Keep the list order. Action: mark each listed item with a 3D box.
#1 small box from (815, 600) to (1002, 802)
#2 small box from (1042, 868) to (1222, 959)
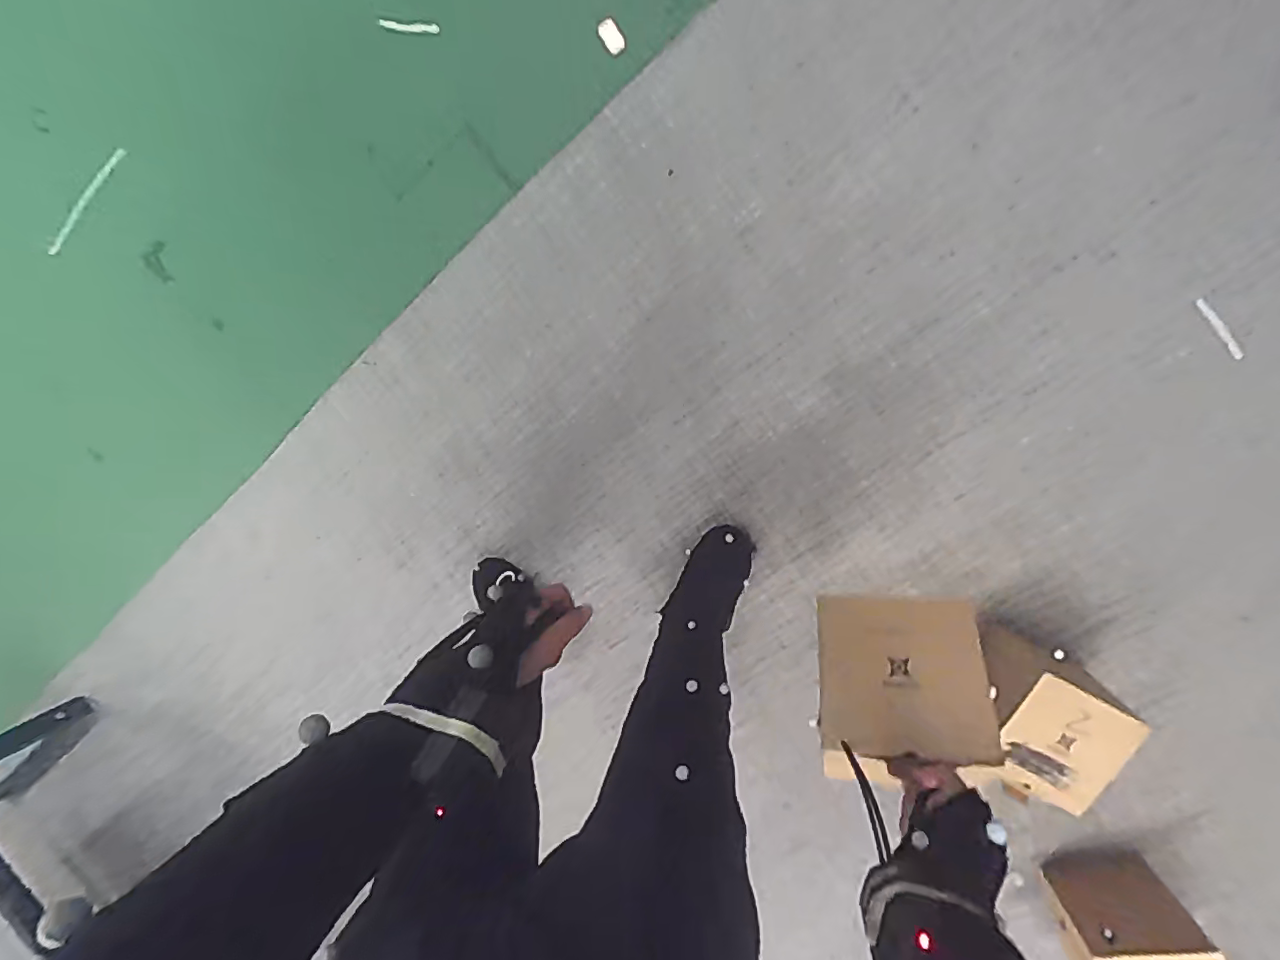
[{"bbox_3d":[0.293,0.259,0.630,0.168,0.179,0.176,-1,142,18],"label":"small box"},{"bbox_3d":[0.830,0.796,0.912,0.179,0.176,0.168,-17,97,15],"label":"small box"}]
